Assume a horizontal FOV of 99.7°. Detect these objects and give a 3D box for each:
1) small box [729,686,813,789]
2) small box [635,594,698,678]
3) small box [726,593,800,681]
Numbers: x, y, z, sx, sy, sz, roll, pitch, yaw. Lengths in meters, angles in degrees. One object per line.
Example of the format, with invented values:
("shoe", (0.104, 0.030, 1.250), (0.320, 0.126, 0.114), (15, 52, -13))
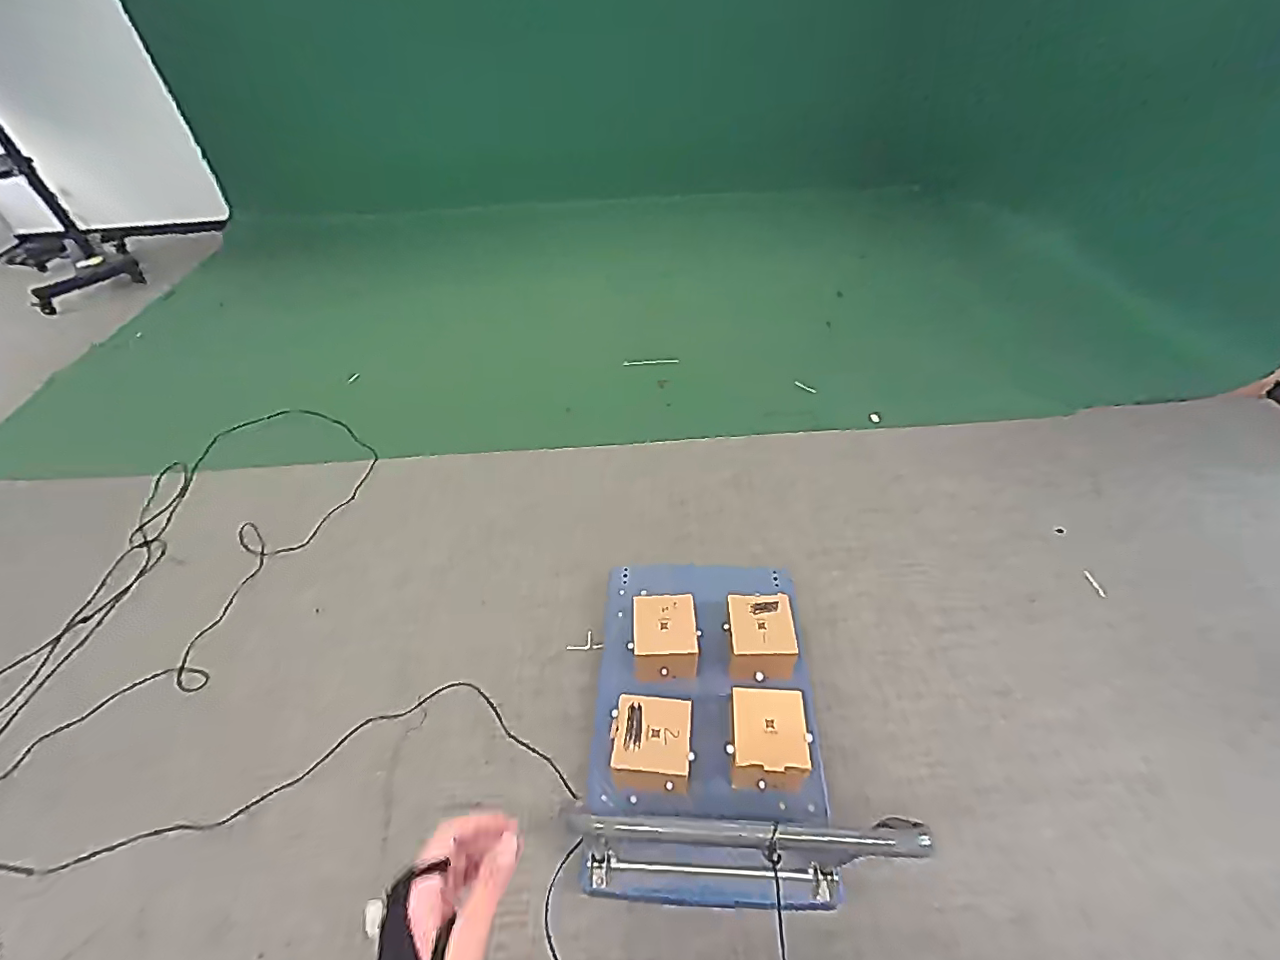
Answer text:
("small box", (0.306, 0.620, 1.301), (0.168, 0.176, 0.179), (1, 47, 4))
("small box", (0.072, 0.434, 1.492), (0.168, 0.176, 0.179), (-1, 46, 1))
("small box", (0.329, 0.430, 1.481), (0.168, 0.176, 0.179), (-1, 47, 3))
